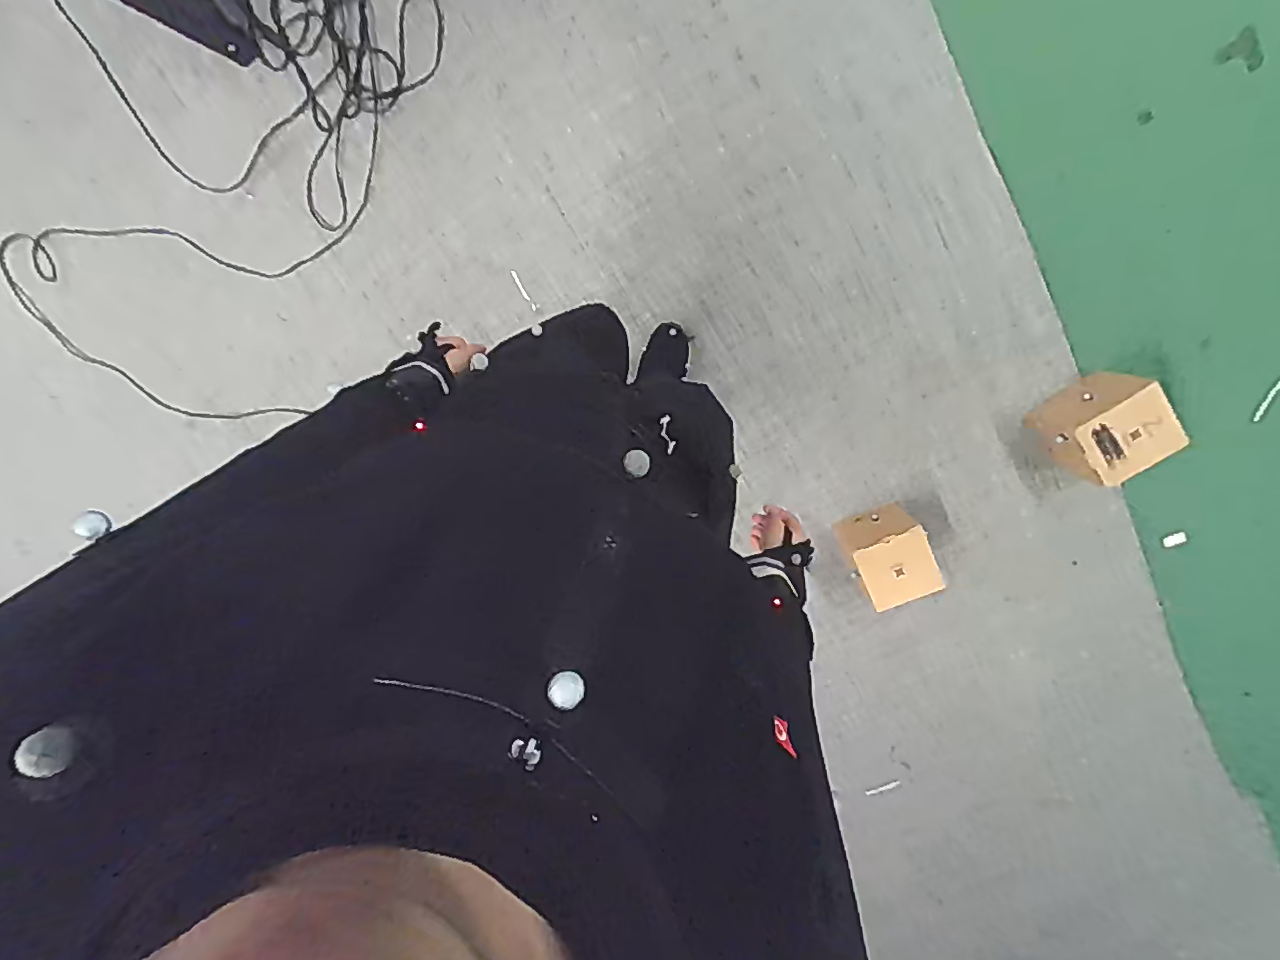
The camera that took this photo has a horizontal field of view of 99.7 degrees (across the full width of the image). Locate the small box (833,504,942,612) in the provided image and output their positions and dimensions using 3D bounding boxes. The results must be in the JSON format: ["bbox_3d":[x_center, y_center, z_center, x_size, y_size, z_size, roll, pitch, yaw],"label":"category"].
[{"bbox_3d":[0.600,0.187,1.328,0.168,0.176,0.179,-25,104,11],"label":"small box"}]
